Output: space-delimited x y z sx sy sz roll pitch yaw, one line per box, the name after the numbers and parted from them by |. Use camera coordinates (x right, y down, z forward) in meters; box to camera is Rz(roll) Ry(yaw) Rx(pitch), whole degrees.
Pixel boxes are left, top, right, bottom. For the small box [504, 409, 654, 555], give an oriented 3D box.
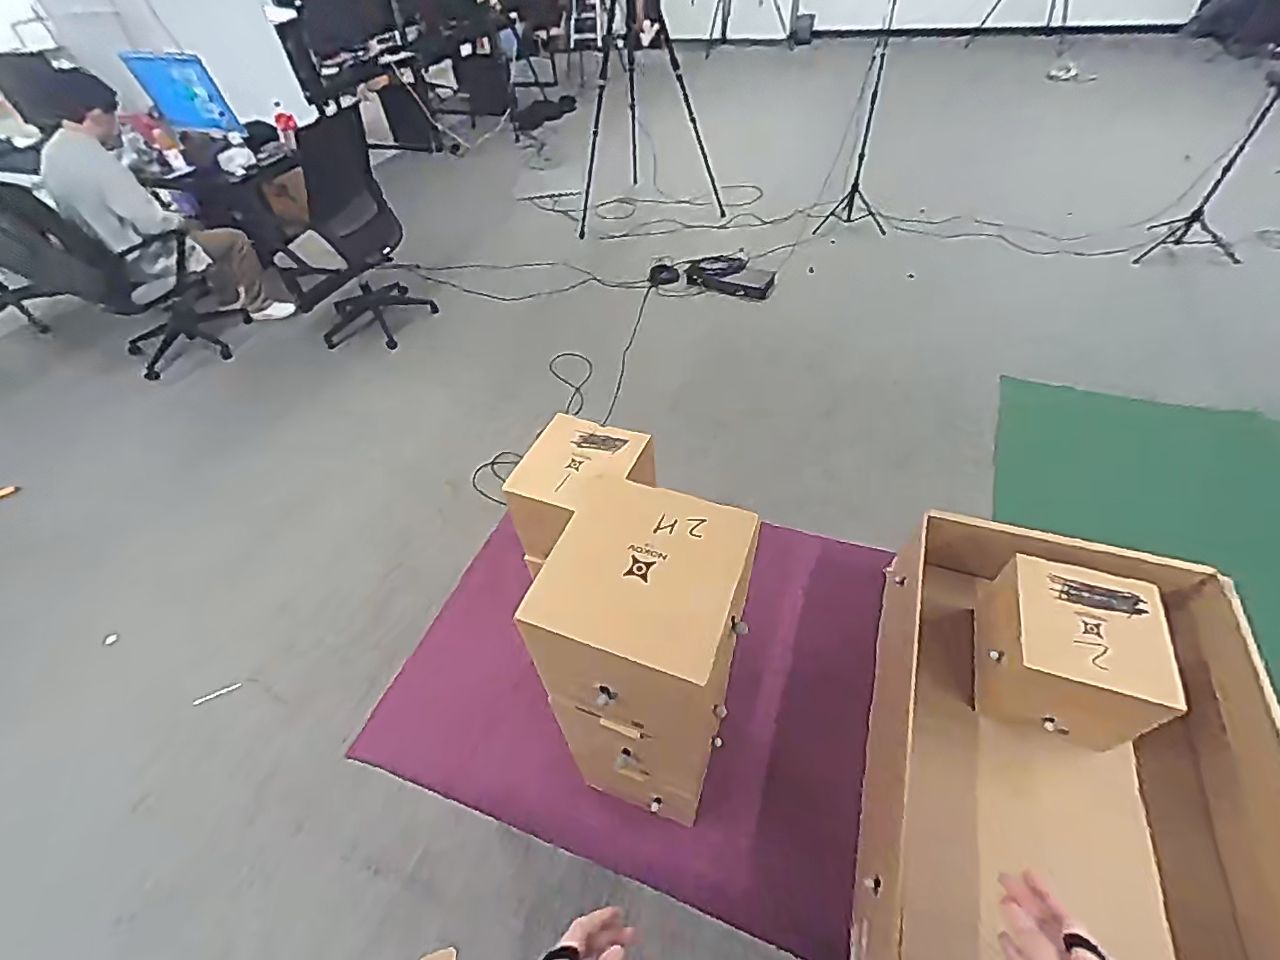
-0.084 0.020 0.852 0.168 0.176 0.179 15 52 19 | small box

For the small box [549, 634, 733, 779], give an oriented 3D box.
0.015 0.231 0.653 0.168 0.176 0.179 14 51 16 | small box

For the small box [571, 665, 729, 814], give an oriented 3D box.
0.022 0.343 0.771 0.168 0.176 0.179 14 49 16 | small box

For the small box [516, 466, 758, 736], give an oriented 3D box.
0.008 0.120 0.530 0.168 0.176 0.179 15 50 16 | small box
